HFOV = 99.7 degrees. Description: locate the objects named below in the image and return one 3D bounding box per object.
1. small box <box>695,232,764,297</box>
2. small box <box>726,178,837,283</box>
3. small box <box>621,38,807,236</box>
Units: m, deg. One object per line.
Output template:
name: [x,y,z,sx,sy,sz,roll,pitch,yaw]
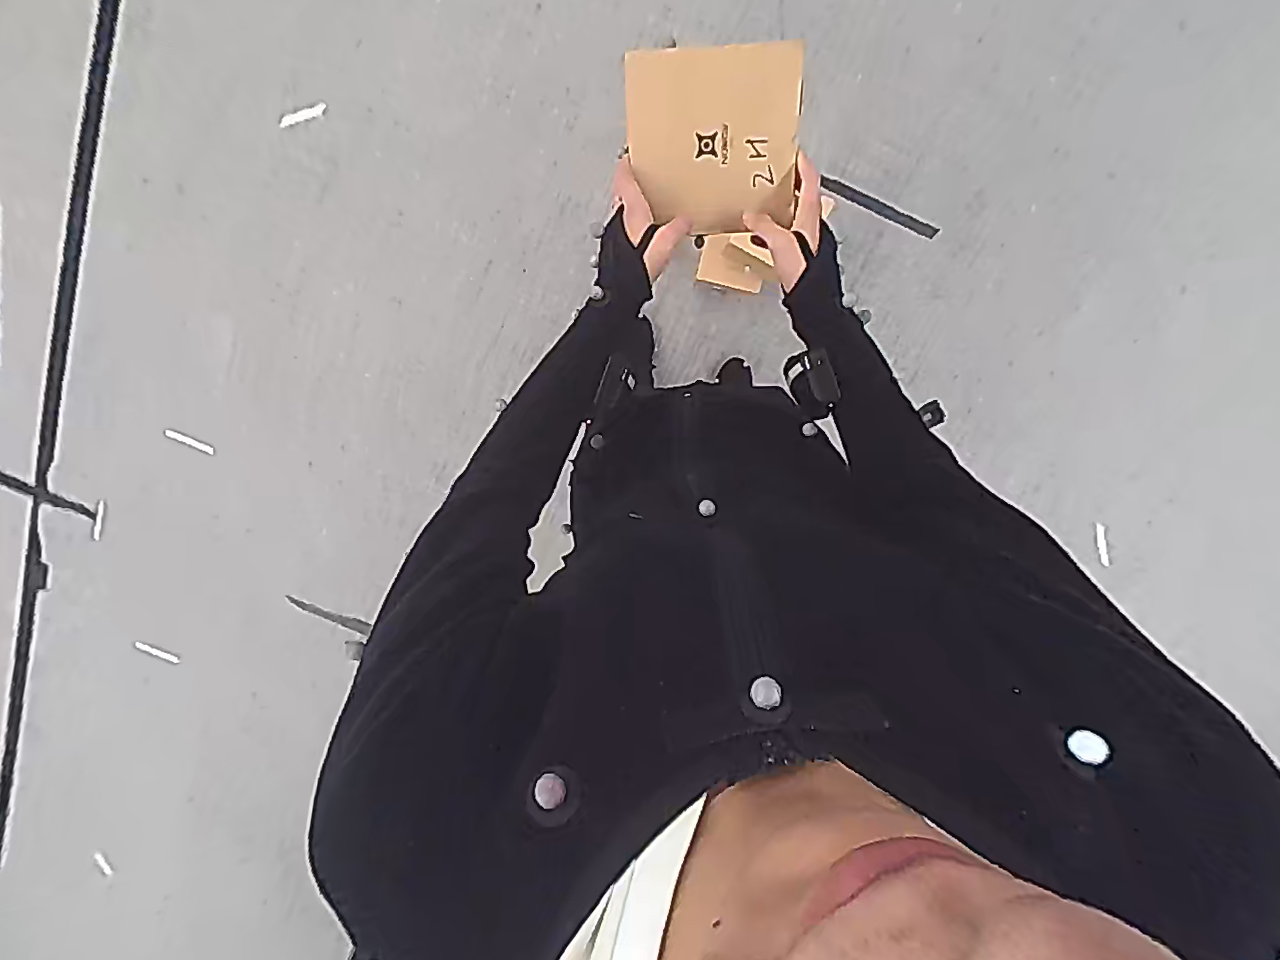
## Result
small box: [0.243,-0.586,1.400,0.168,0.176,0.179,14,106,-1]
small box: [0.309,-0.573,1.231,0.168,0.176,0.179,28,105,-4]
small box: [0.072,-0.371,0.612,0.179,0.176,0.168,-4,117,0]
